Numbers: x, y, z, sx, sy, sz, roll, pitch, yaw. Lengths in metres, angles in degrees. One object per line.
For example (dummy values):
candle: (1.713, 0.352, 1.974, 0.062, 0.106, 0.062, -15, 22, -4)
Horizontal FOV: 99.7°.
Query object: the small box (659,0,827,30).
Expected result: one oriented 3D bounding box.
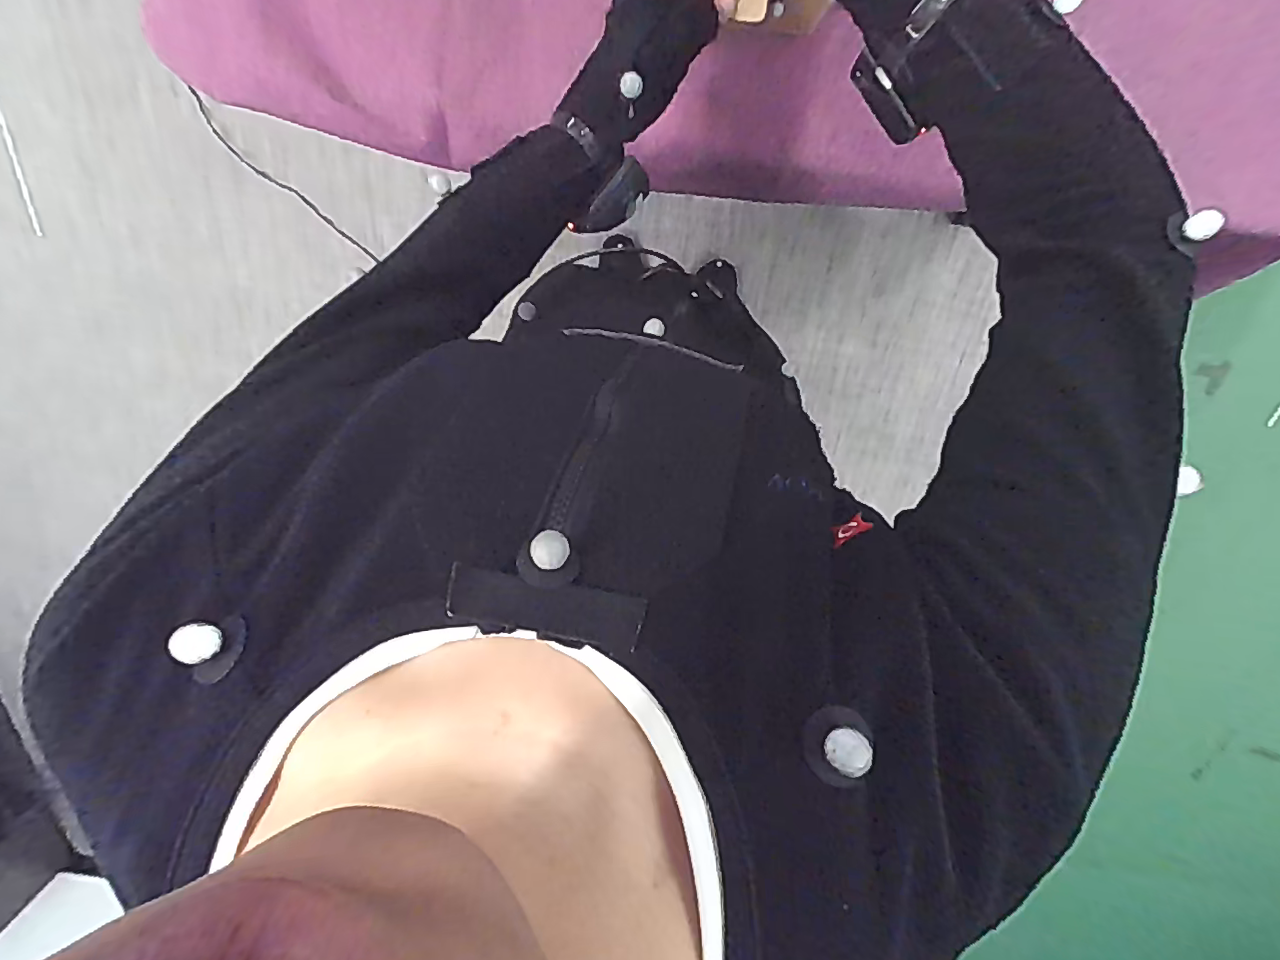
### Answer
small box: (0.094, -0.494, 0.427, 0.168, 0.176, 0.179, 7, 114, 1)
